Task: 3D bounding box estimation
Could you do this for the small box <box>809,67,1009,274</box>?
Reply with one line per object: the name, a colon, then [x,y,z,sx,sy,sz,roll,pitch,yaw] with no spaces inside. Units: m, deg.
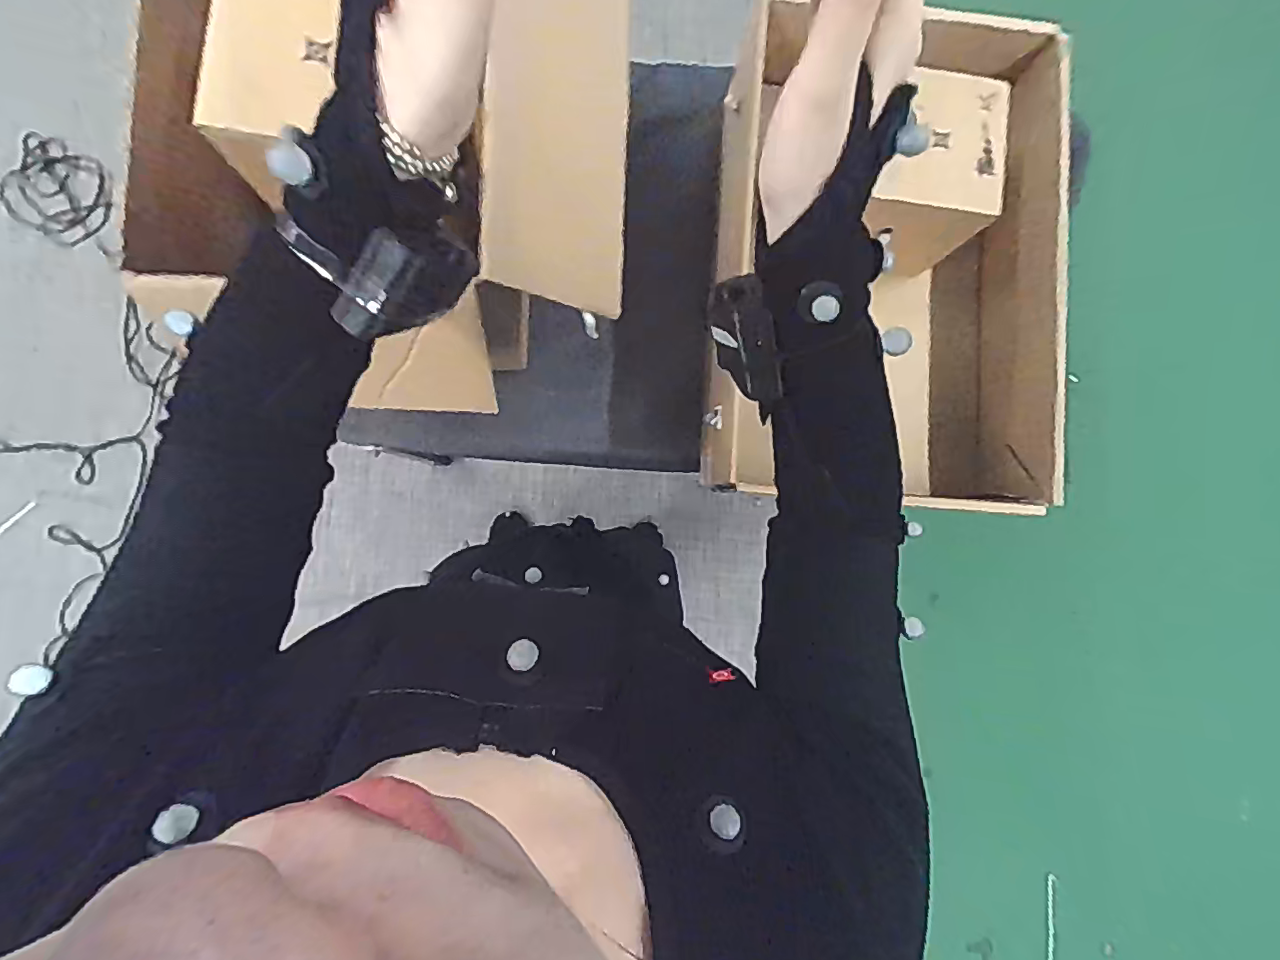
small box: [0.336,-0.388,0.707,0.179,0.176,0.168,6,87,-2]
